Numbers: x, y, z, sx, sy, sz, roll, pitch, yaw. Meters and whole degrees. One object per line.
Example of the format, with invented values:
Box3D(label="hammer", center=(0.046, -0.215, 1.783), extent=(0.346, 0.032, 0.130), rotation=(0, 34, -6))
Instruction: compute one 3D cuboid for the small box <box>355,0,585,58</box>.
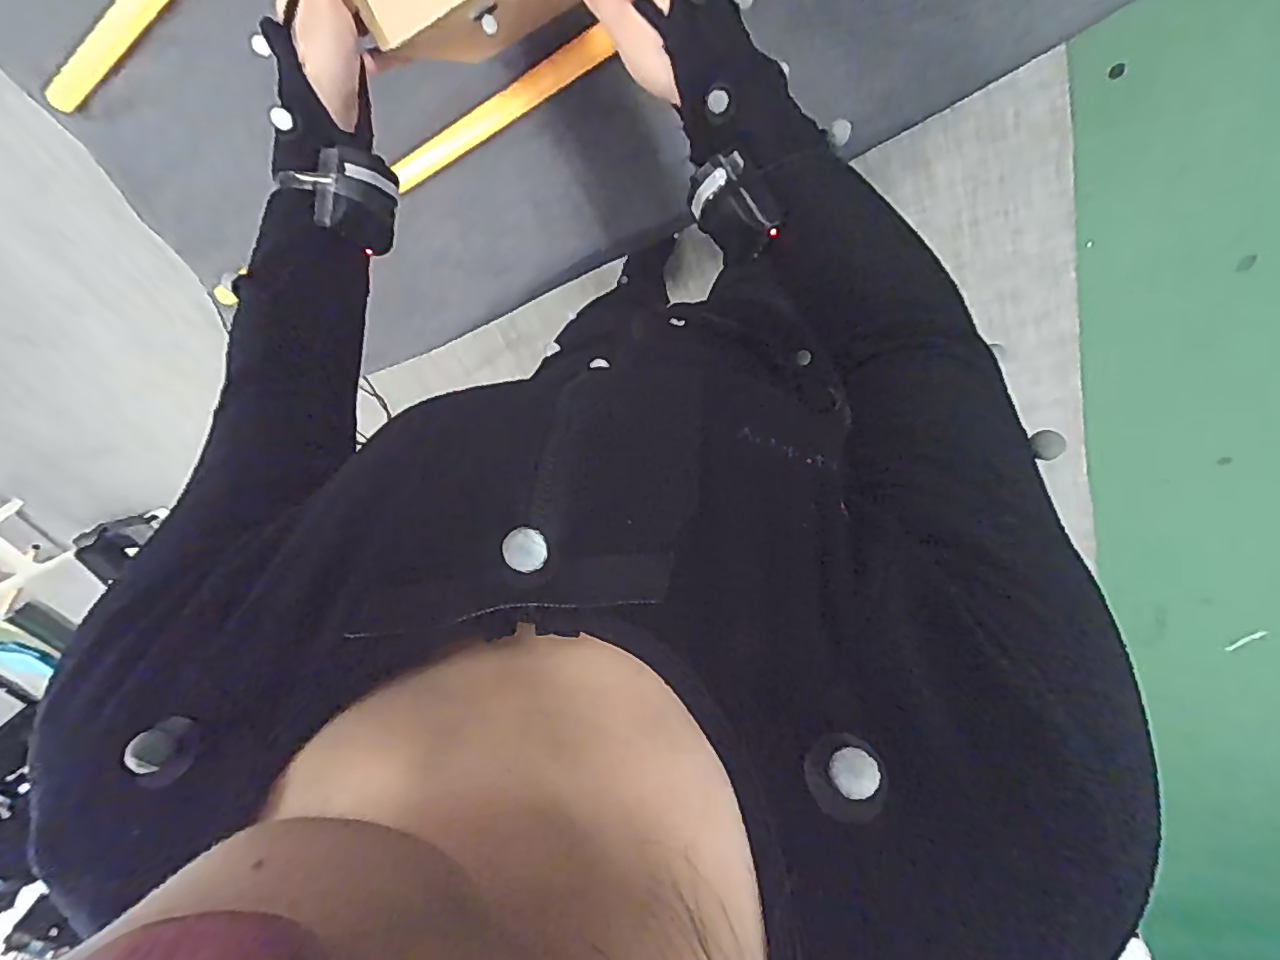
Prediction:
Box3D(label="small box", center=(-0.128, -0.446, 0.402), extent=(0.179, 0.176, 0.168), rotation=(-12, 122, 22))
